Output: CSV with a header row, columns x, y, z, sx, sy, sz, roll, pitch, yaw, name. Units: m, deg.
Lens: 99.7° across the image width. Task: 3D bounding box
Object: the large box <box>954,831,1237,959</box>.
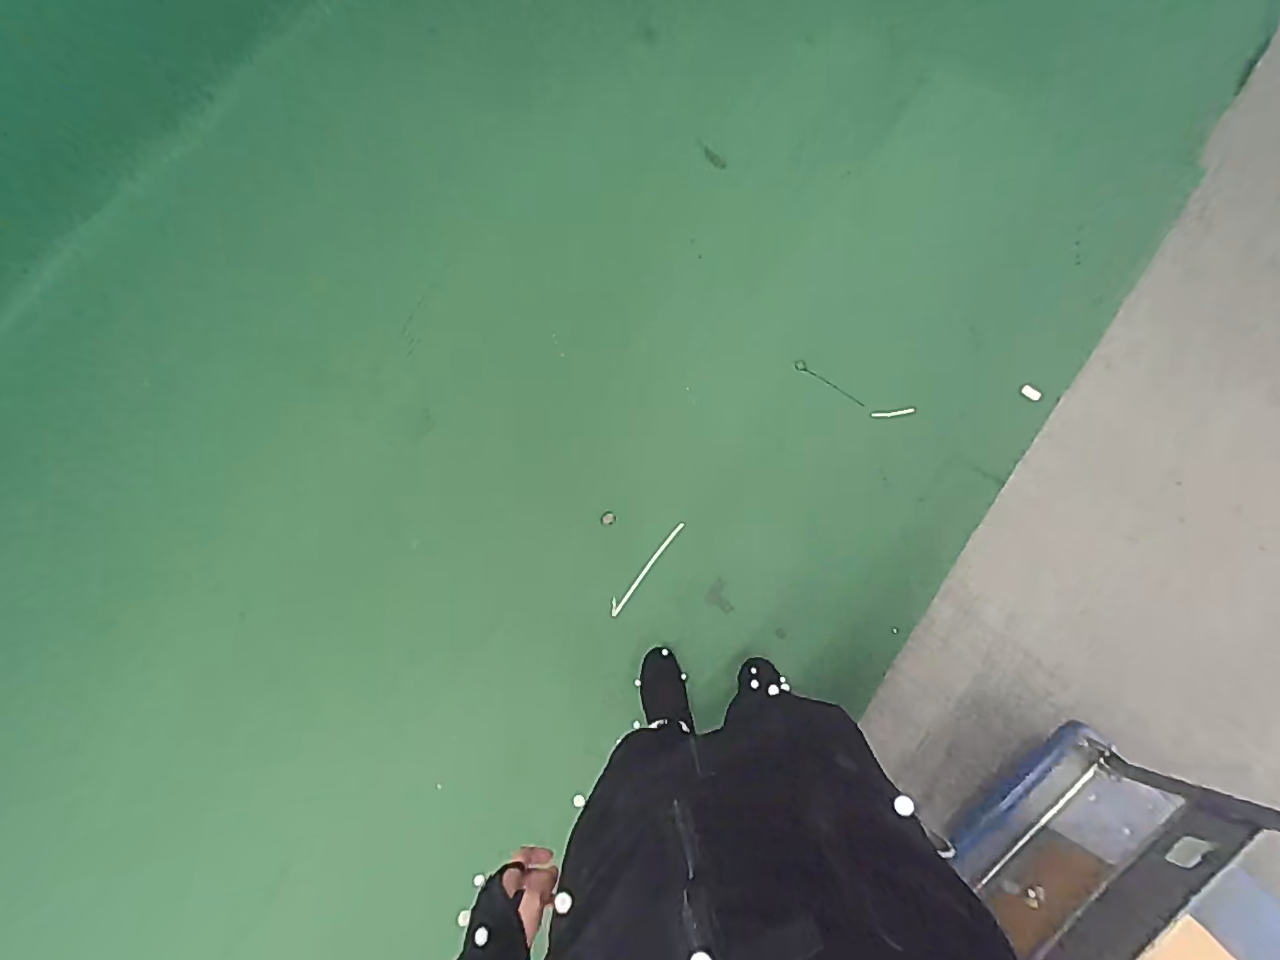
x,y,z,sx,sy,sz,roll,pitch,yaw,name
0.853,0.921,0.914,0.320,0.320,0.408,-42,76,-5,large box
